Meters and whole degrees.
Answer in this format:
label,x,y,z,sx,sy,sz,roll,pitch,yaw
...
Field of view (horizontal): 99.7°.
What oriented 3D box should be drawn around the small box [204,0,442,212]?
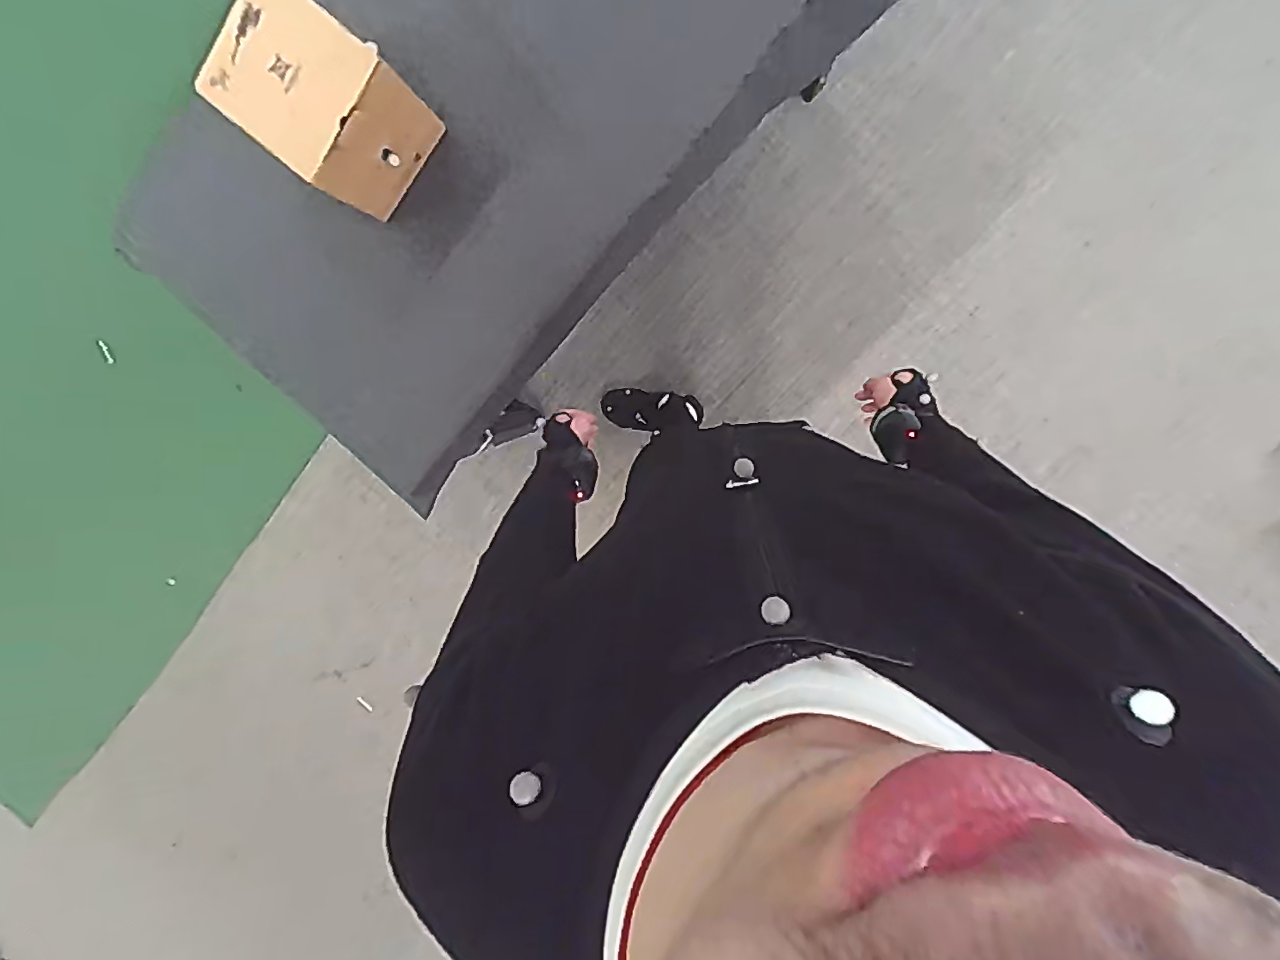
label,x,y,z,sx,sy,sz,roll,pitch,yaw
small box,-0.398,-0.483,0.710,0.179,0.176,0.168,37,103,-2
